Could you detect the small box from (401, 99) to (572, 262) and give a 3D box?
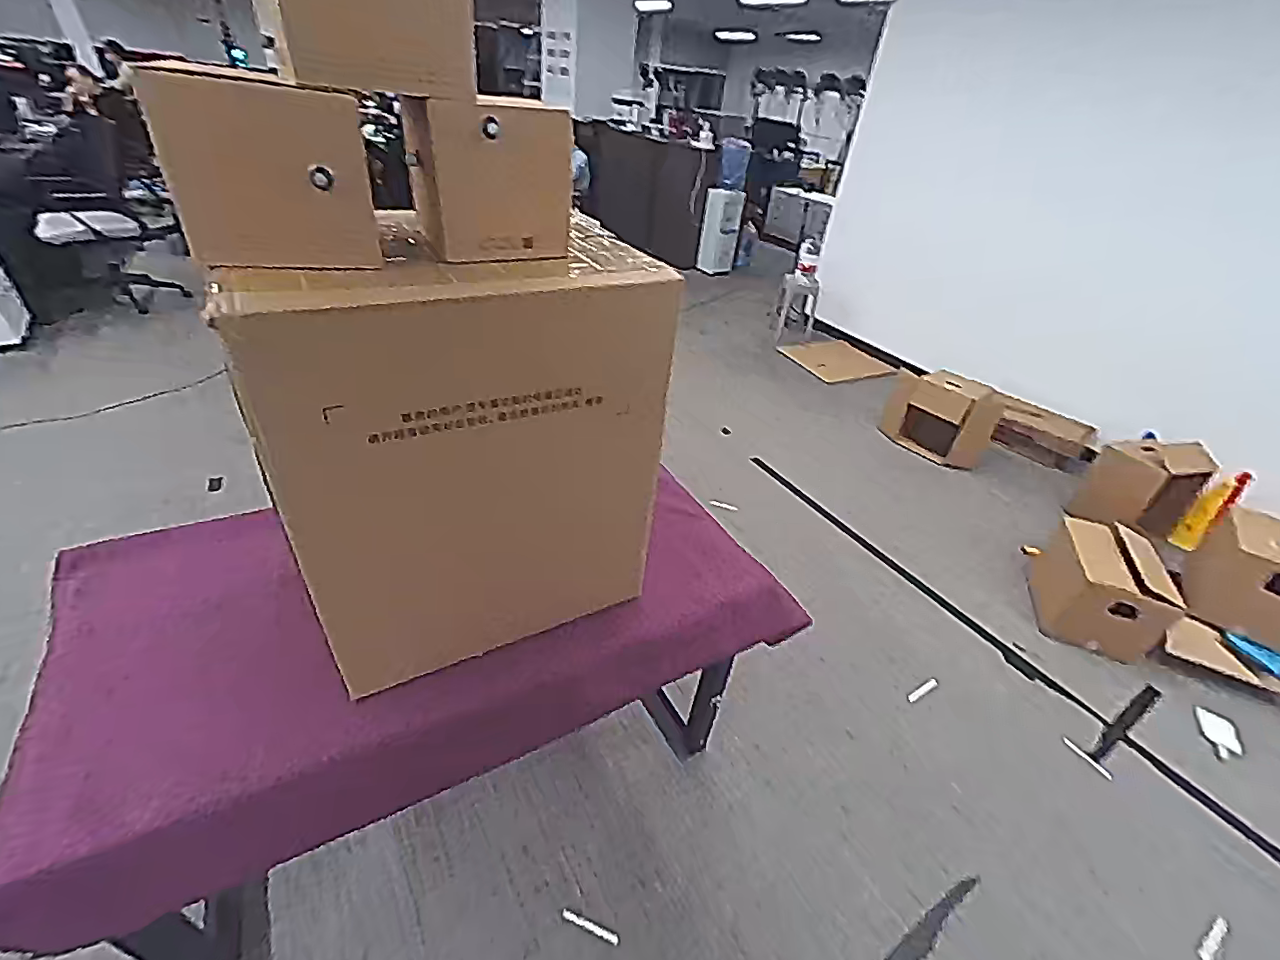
[{"bbox_3d":[-0.199,-0.391,0.705,0.168,0.176,0.179,-15,40,-26],"label":"small box"}]

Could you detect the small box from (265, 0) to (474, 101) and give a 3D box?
[{"bbox_3d":[-0.285,-0.499,0.557,0.179,0.176,0.168,-15,41,-29],"label":"small box"}]
